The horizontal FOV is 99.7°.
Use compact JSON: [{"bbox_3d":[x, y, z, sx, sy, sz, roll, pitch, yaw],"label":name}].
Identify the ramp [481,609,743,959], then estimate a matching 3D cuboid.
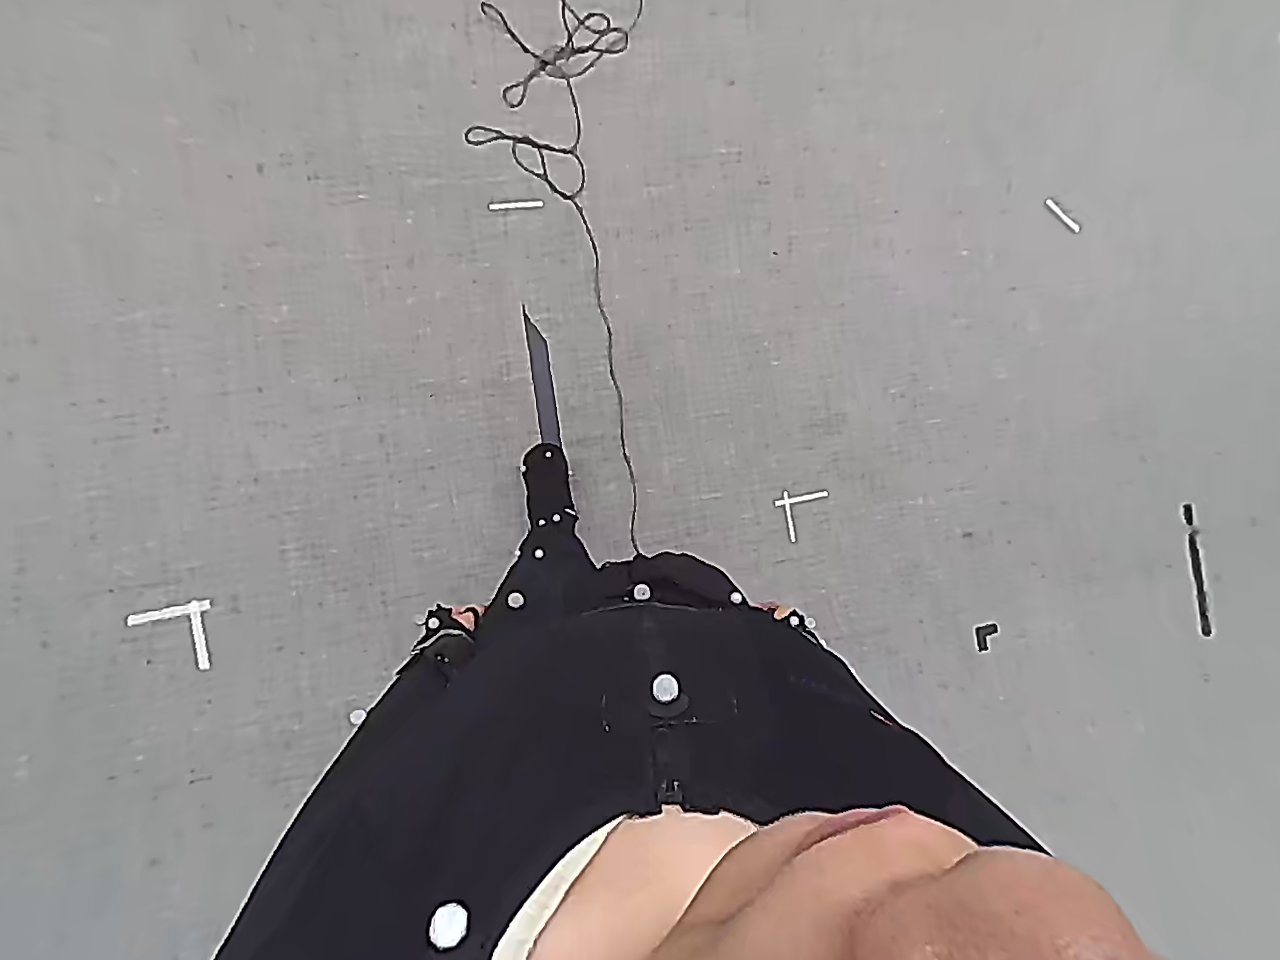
[{"bbox_3d":[-0.062,0.842,1.241,0.509,0.206,0.991,-11,86,-7],"label":"ramp"}]
